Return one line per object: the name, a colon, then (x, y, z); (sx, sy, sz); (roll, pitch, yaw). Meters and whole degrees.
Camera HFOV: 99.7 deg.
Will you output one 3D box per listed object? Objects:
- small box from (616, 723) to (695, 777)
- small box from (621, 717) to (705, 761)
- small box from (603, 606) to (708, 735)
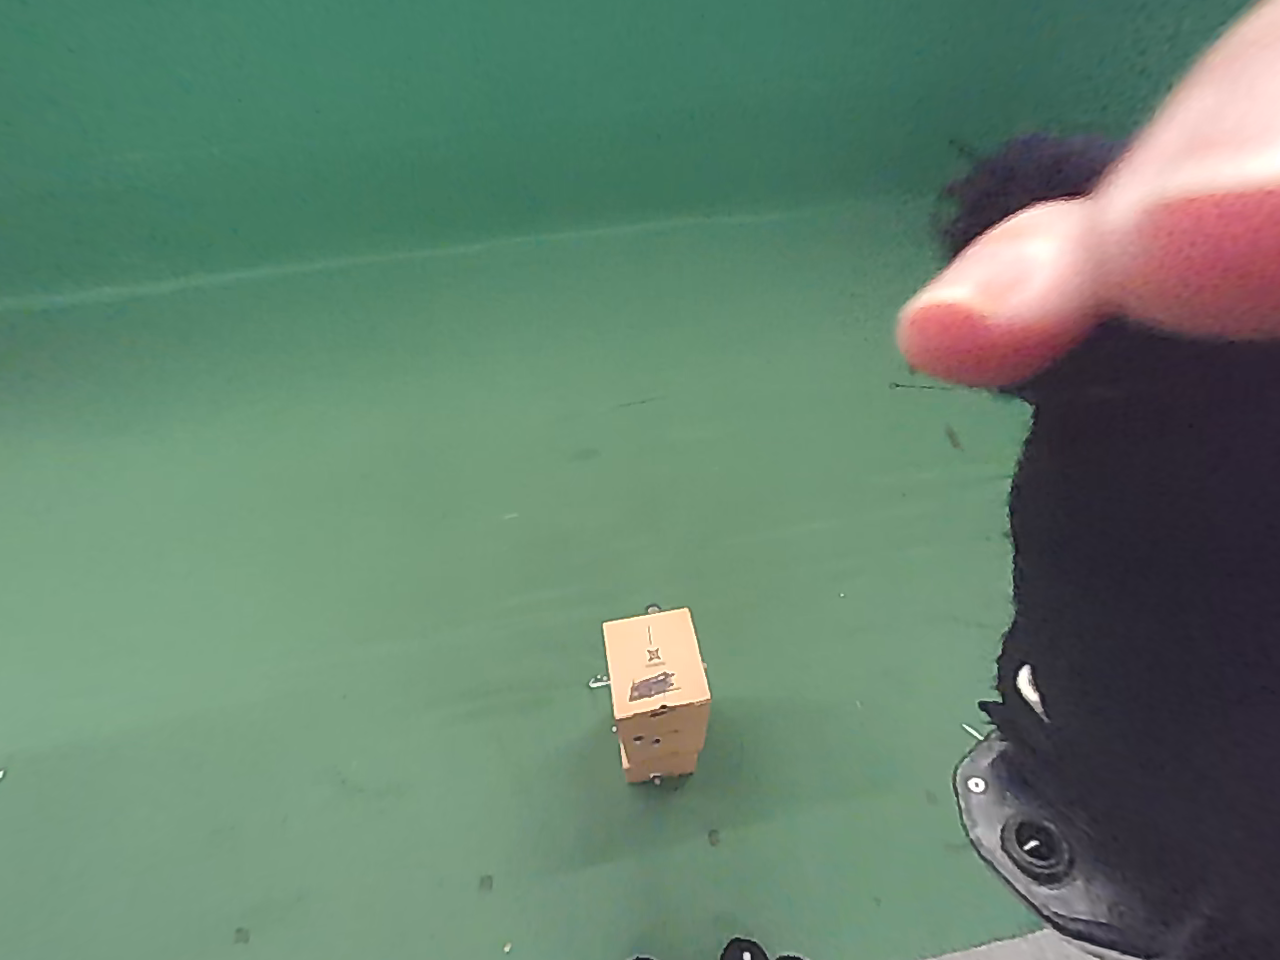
small box: (0.030, 0.565, 1.249); (0.168, 0.176, 0.179); (-7, 51, -1)
small box: (0.035, 0.467, 1.142); (0.168, 0.176, 0.179); (-9, 50, -4)
small box: (0.027, 0.363, 1.015); (0.168, 0.176, 0.179); (-8, 50, -5)
